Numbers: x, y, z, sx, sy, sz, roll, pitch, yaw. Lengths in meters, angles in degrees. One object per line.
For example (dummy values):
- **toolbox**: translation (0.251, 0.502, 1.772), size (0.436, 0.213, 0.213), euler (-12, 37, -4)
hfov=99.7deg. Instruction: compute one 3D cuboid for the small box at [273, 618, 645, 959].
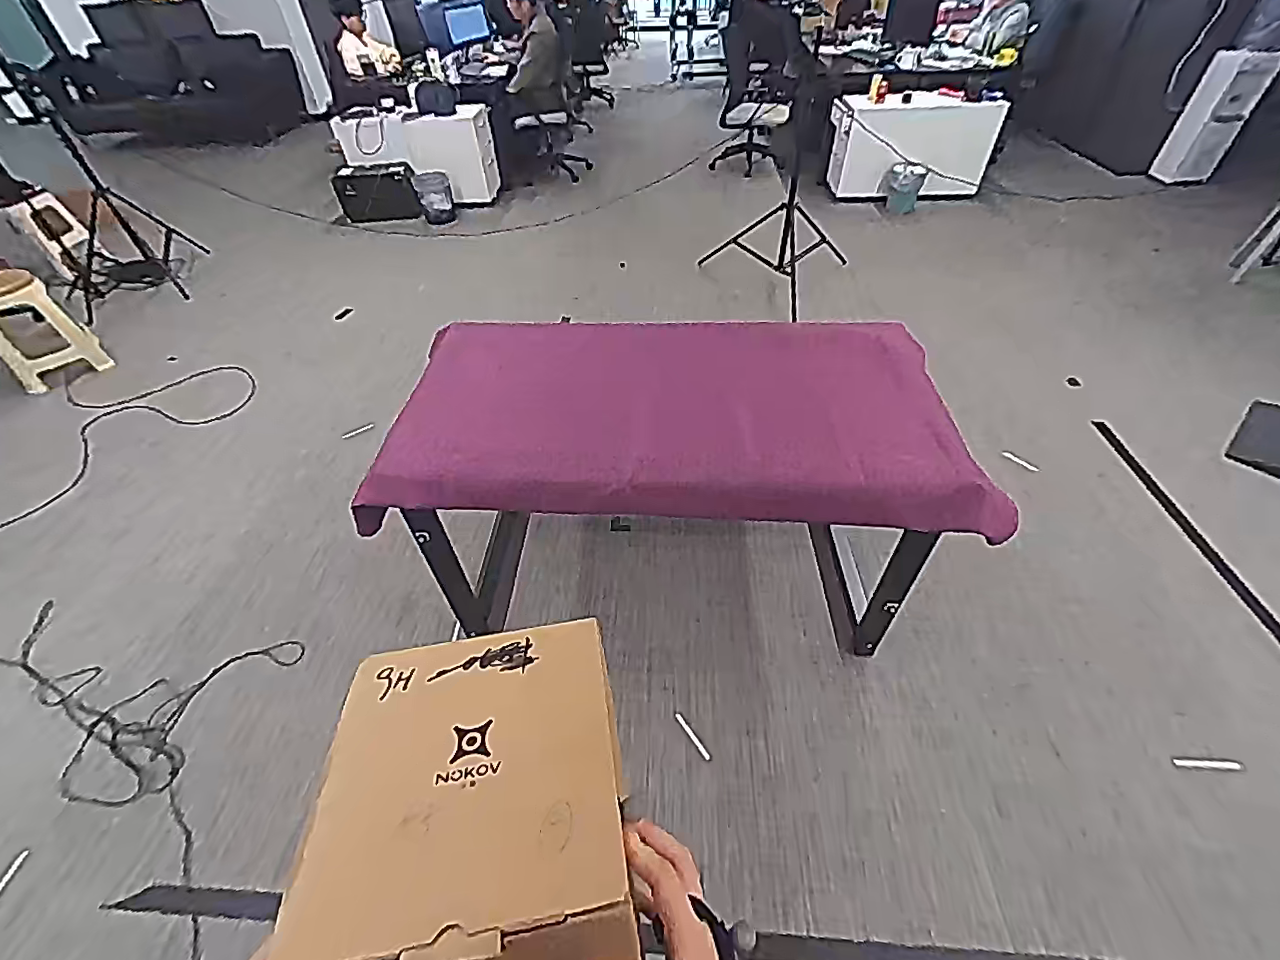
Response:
- **small box**: translation (-0.093, 0.225, 0.361), size (0.168, 0.176, 0.179), euler (-8, 35, -6)
